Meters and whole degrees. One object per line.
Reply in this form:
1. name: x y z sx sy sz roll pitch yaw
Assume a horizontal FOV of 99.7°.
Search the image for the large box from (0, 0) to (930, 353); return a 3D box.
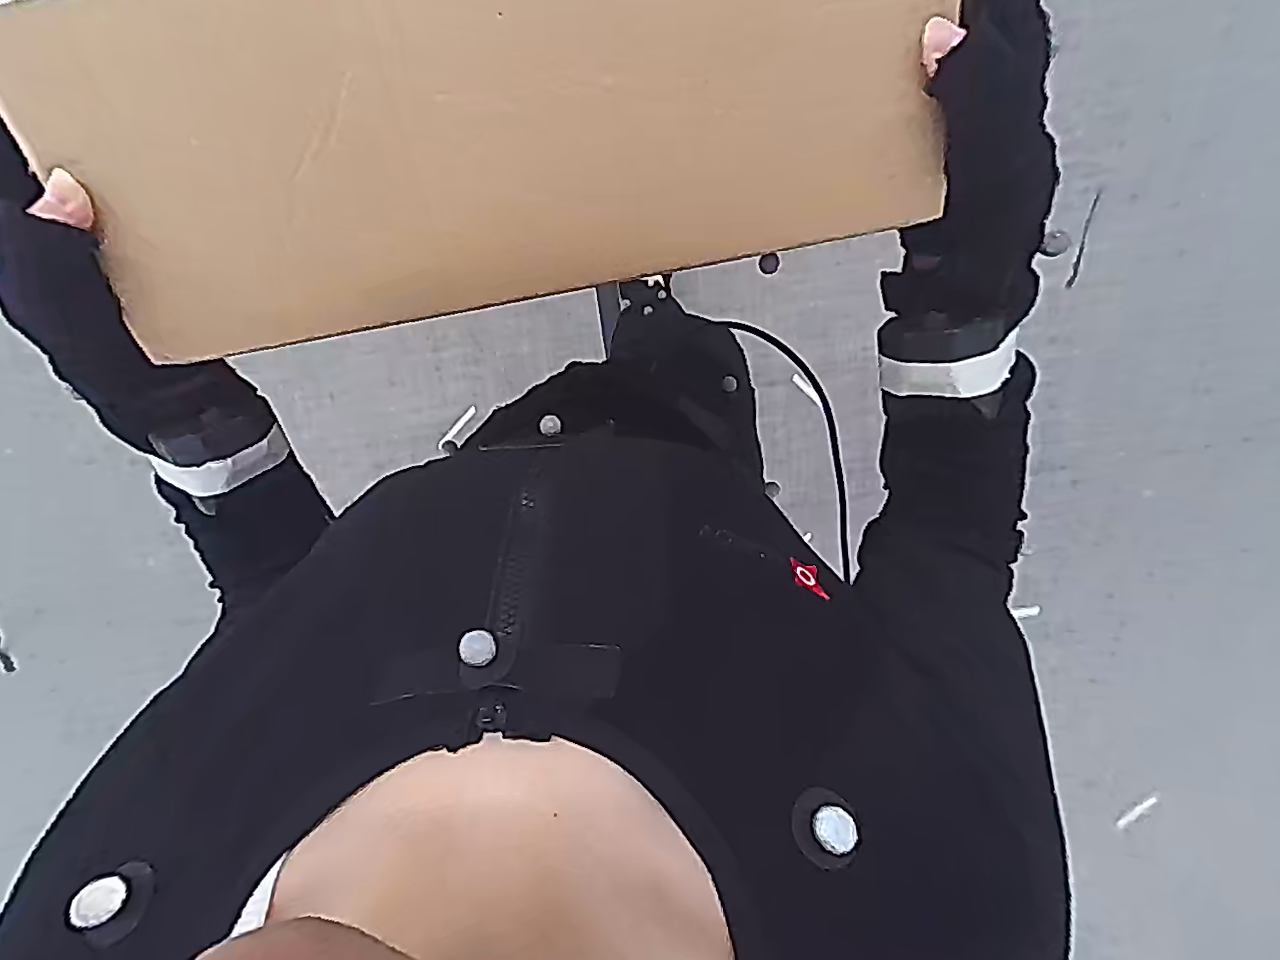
1. large box: -0.085 -0.304 0.346 0.408 0.320 0.320 -10 115 4
